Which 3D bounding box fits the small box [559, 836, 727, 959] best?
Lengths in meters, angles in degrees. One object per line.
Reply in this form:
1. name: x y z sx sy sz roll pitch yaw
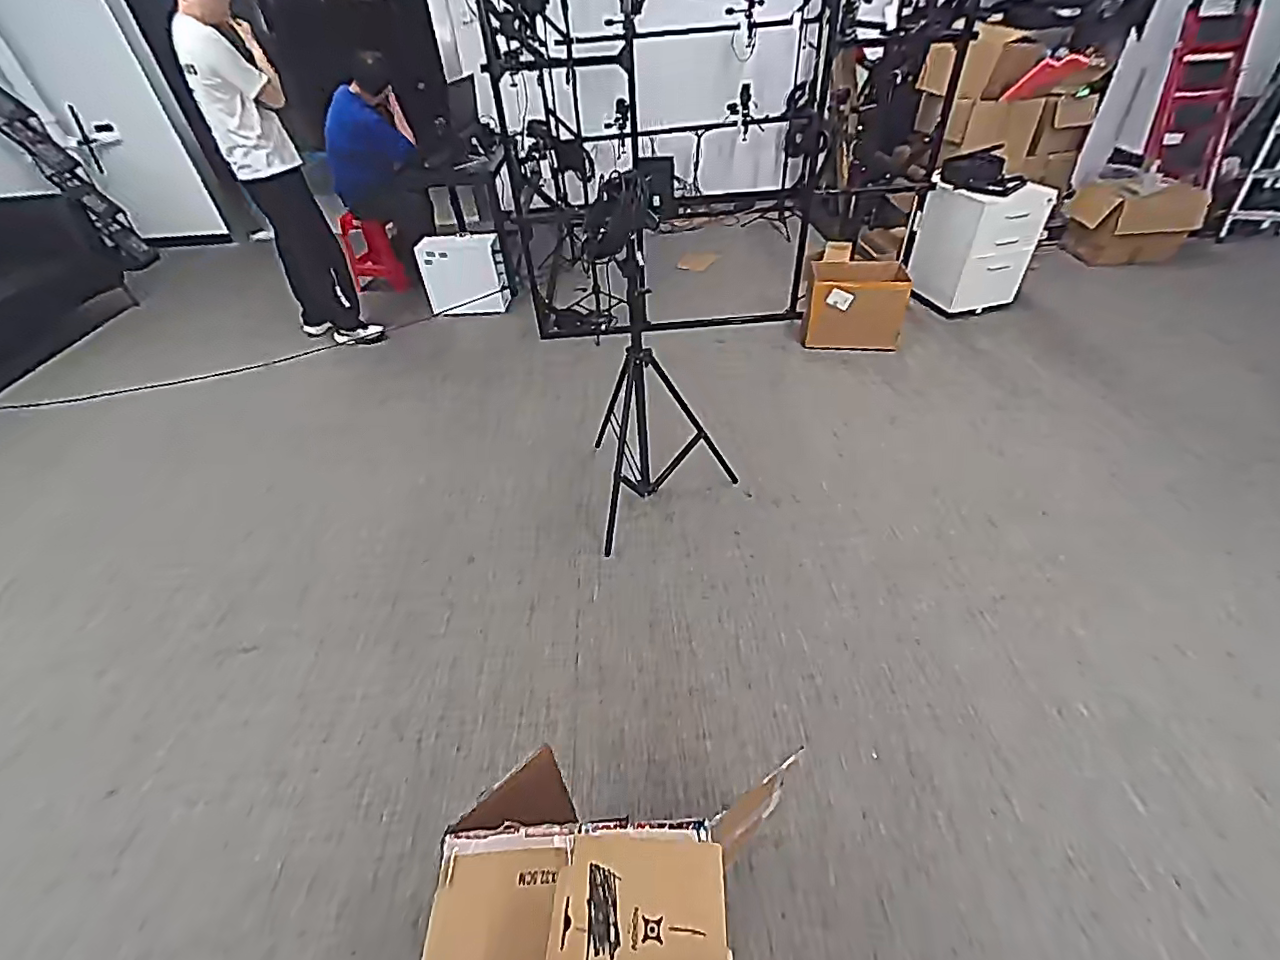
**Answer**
1. small box: 0.006 0.534 0.625 0.179 0.176 0.168 2 43 3
